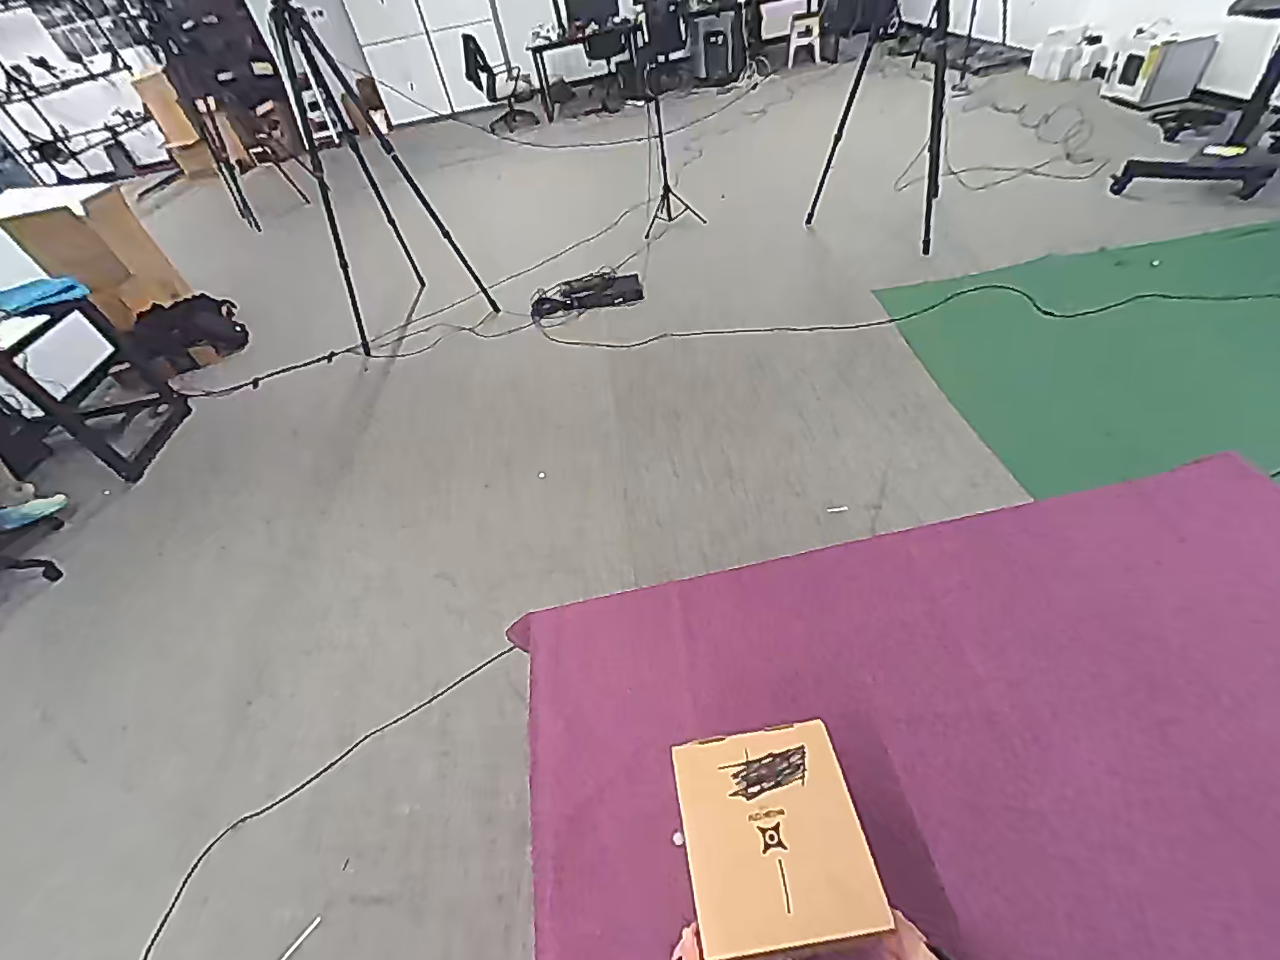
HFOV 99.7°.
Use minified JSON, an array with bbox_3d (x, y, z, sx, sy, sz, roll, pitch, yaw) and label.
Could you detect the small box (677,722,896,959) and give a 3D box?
[{"bbox_3d":[0.139,0.387,0.572,0.168,0.176,0.179,-12,45,2],"label":"small box"}]
